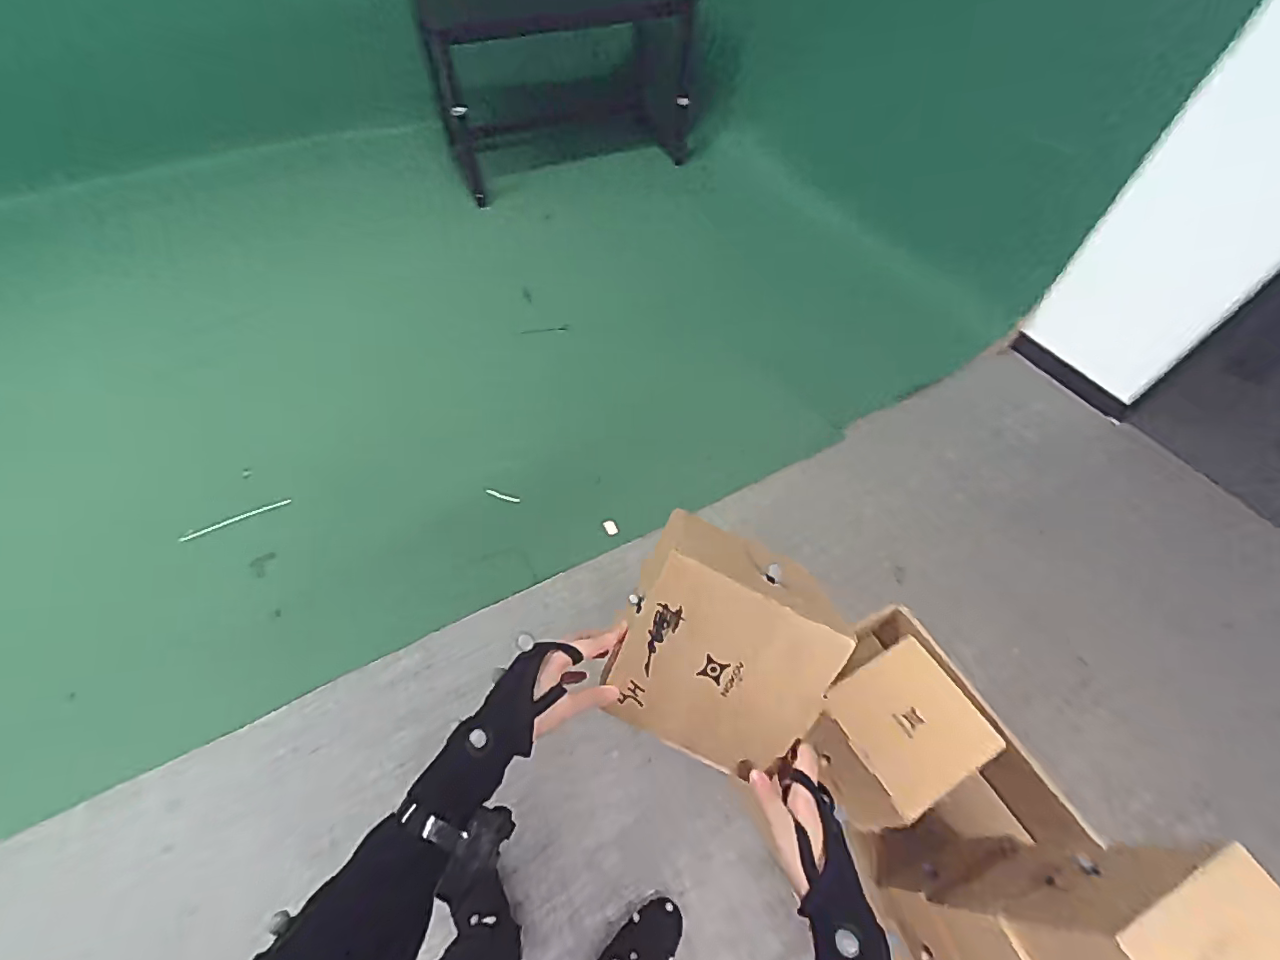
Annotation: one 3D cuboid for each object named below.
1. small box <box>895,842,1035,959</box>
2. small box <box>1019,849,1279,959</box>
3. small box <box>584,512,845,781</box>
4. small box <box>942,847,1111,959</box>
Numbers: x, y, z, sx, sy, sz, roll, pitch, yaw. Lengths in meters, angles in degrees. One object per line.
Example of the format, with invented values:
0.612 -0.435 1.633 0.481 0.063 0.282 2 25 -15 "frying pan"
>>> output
0.488 0.637 0.756 0.179 0.176 0.168 -18 57 -13 "small box"
0.502 0.460 0.481 0.168 0.176 0.179 -20 57 -14 "small box"
0.067 0.148 0.544 0.179 0.176 0.168 26 99 0 "small box"
0.492 0.553 0.614 0.168 0.176 0.179 -20 58 -13 "small box"
